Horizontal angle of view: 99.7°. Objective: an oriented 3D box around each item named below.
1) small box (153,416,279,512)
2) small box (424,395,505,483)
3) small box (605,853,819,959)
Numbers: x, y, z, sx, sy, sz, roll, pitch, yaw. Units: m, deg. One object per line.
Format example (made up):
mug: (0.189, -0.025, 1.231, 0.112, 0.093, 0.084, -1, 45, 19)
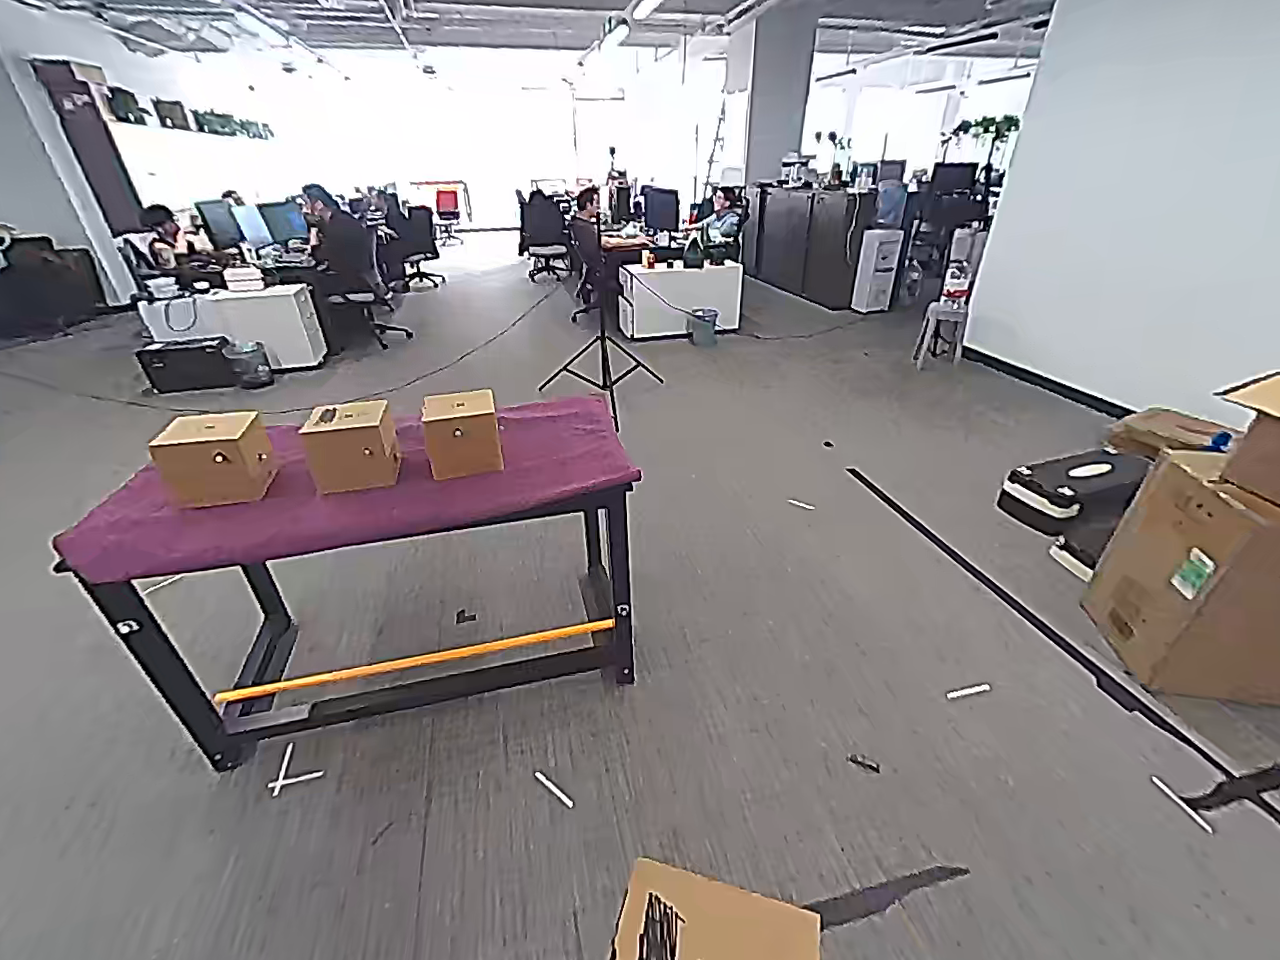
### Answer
small box: (-1.009, -0.040, 1.310, 0.179, 0.176, 0.168, -7, 30, -15)
small box: (-0.455, -0.109, 1.422, 0.179, 0.176, 0.168, -10, 31, -13)
small box: (0.057, 0.484, 0.479, 0.179, 0.176, 0.168, 8, 29, 15)
